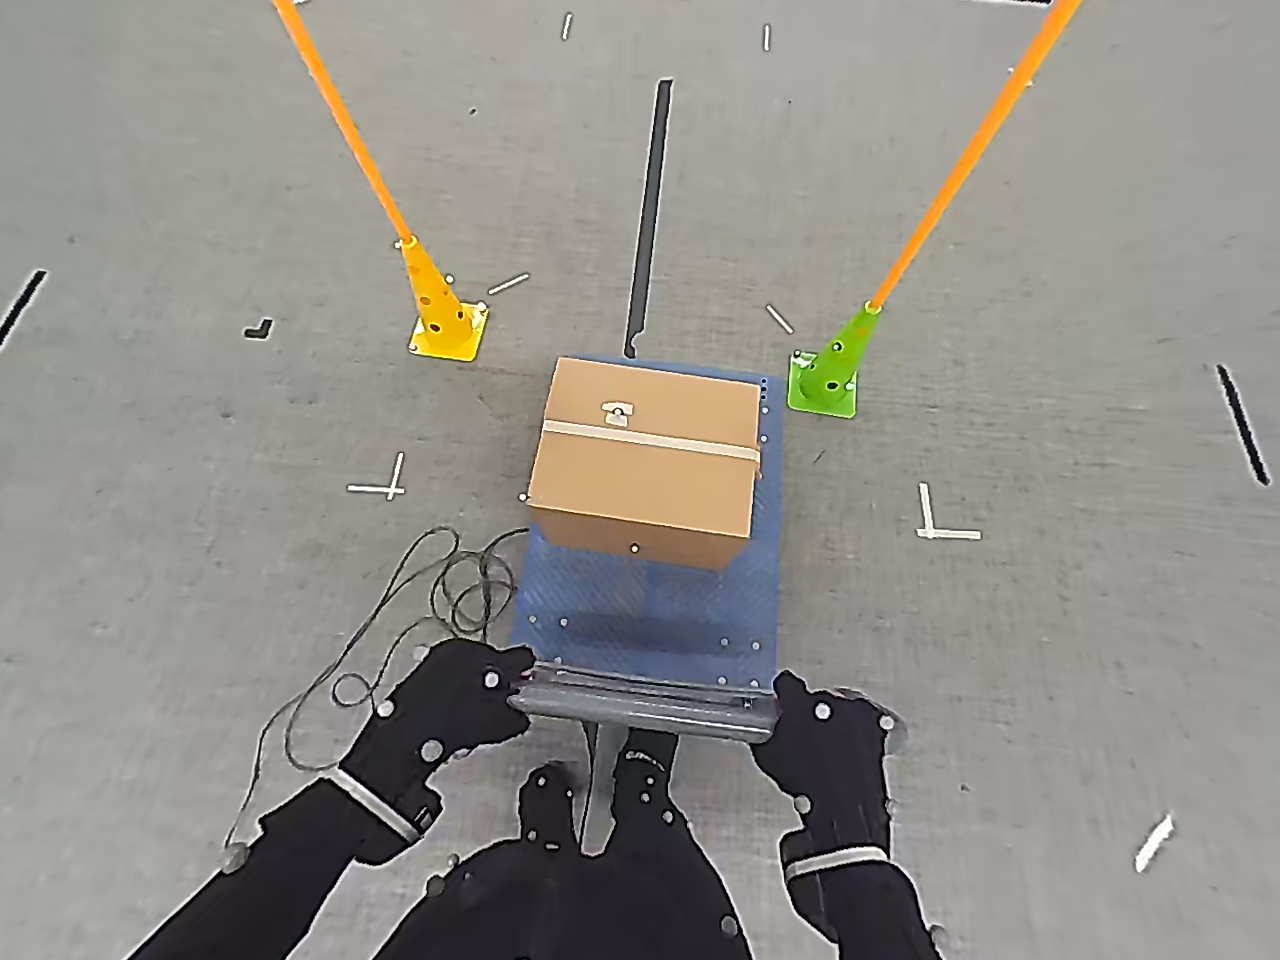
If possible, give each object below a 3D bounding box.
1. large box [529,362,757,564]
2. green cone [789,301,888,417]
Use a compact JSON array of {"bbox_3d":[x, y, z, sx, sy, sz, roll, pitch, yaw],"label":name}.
[{"bbox_3d":[0.015,-0.019,1.159,0.408,0.320,0.320,8,70,2],"label":"large box"},{"bbox_3d":[0.556,-0.346,1.452,0.202,0.368,0.200,10,70,0],"label":"green cone"}]
